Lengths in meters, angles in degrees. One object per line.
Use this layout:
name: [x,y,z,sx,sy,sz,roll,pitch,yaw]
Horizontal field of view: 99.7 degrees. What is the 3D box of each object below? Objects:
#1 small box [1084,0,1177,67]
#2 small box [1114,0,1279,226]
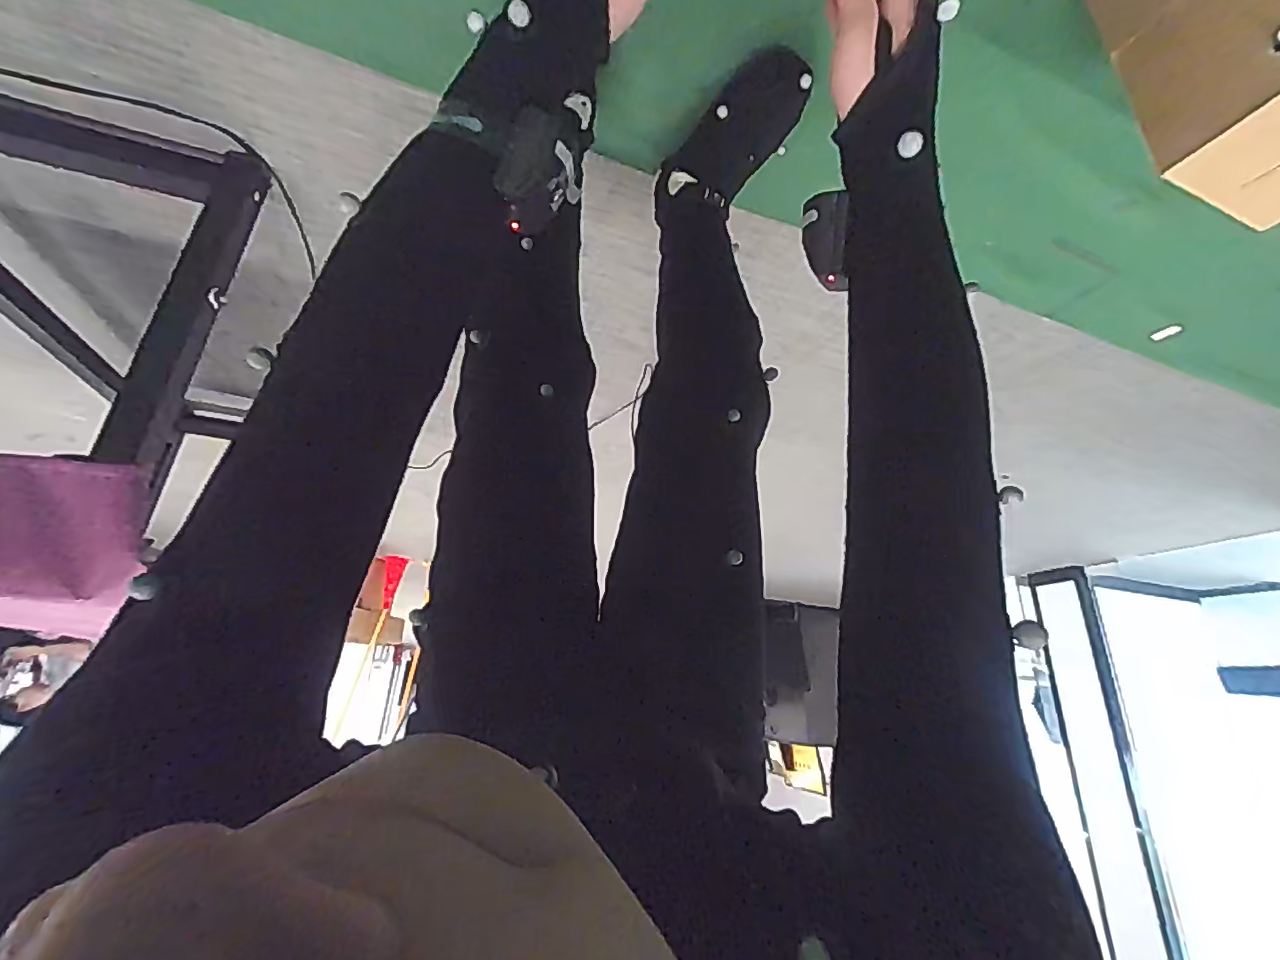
small box: [0.594,-0.530,0.547,0.168,0.176,0.179,11,157,-20]
small box: [0.591,-0.377,0.486,0.168,0.176,0.179,10,157,-19]
